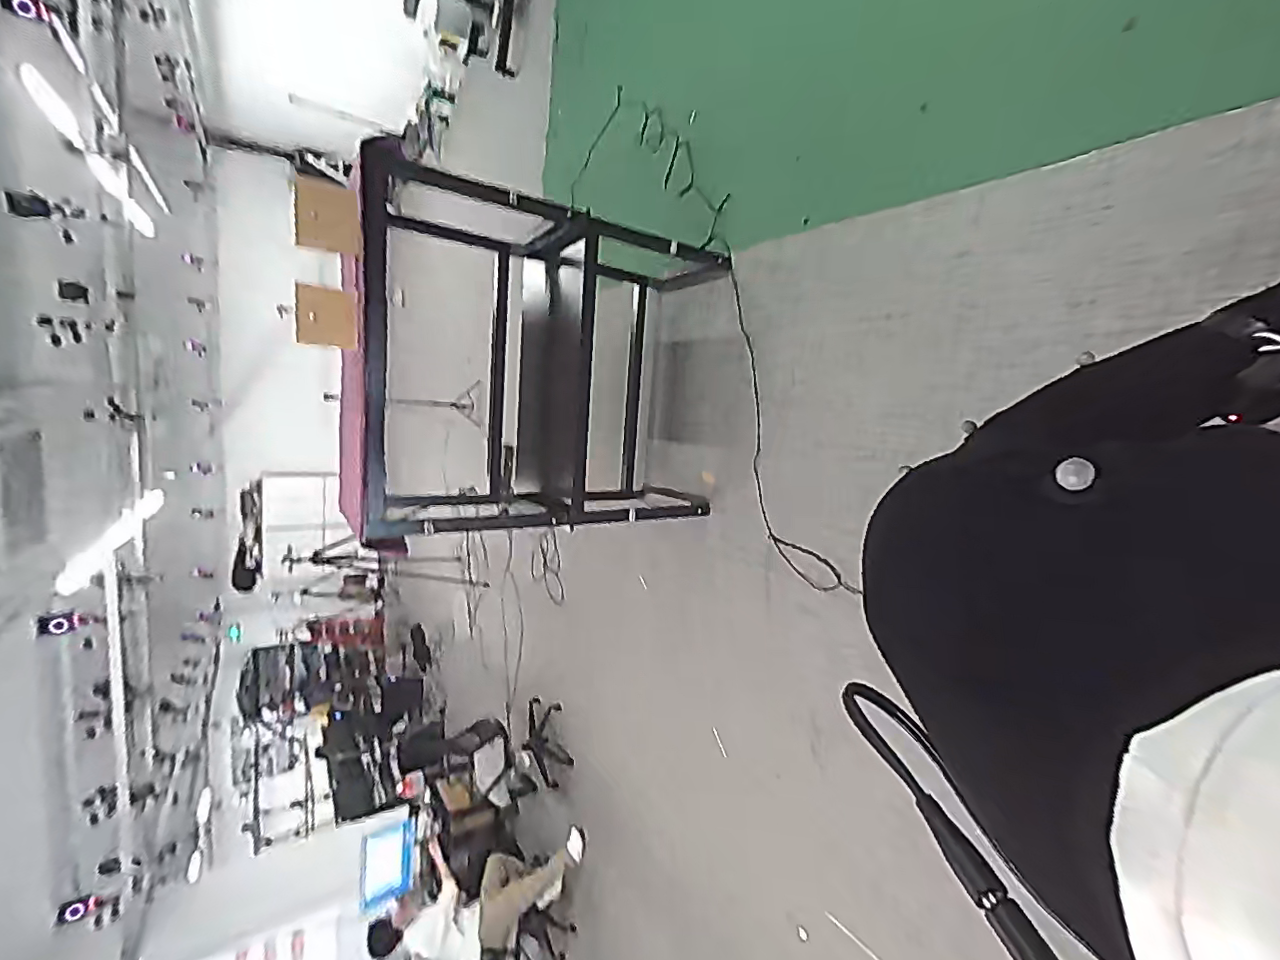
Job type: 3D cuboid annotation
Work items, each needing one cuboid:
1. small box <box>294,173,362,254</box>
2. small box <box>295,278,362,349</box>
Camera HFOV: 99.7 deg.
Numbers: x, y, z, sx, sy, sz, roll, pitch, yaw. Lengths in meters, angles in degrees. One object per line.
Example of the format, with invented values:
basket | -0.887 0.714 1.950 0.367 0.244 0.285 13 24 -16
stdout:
small box | -0.939 -0.790 1.627 0.168 0.176 0.179 20 107 53
small box | -0.963 -0.506 1.668 0.168 0.176 0.179 16 104 56
